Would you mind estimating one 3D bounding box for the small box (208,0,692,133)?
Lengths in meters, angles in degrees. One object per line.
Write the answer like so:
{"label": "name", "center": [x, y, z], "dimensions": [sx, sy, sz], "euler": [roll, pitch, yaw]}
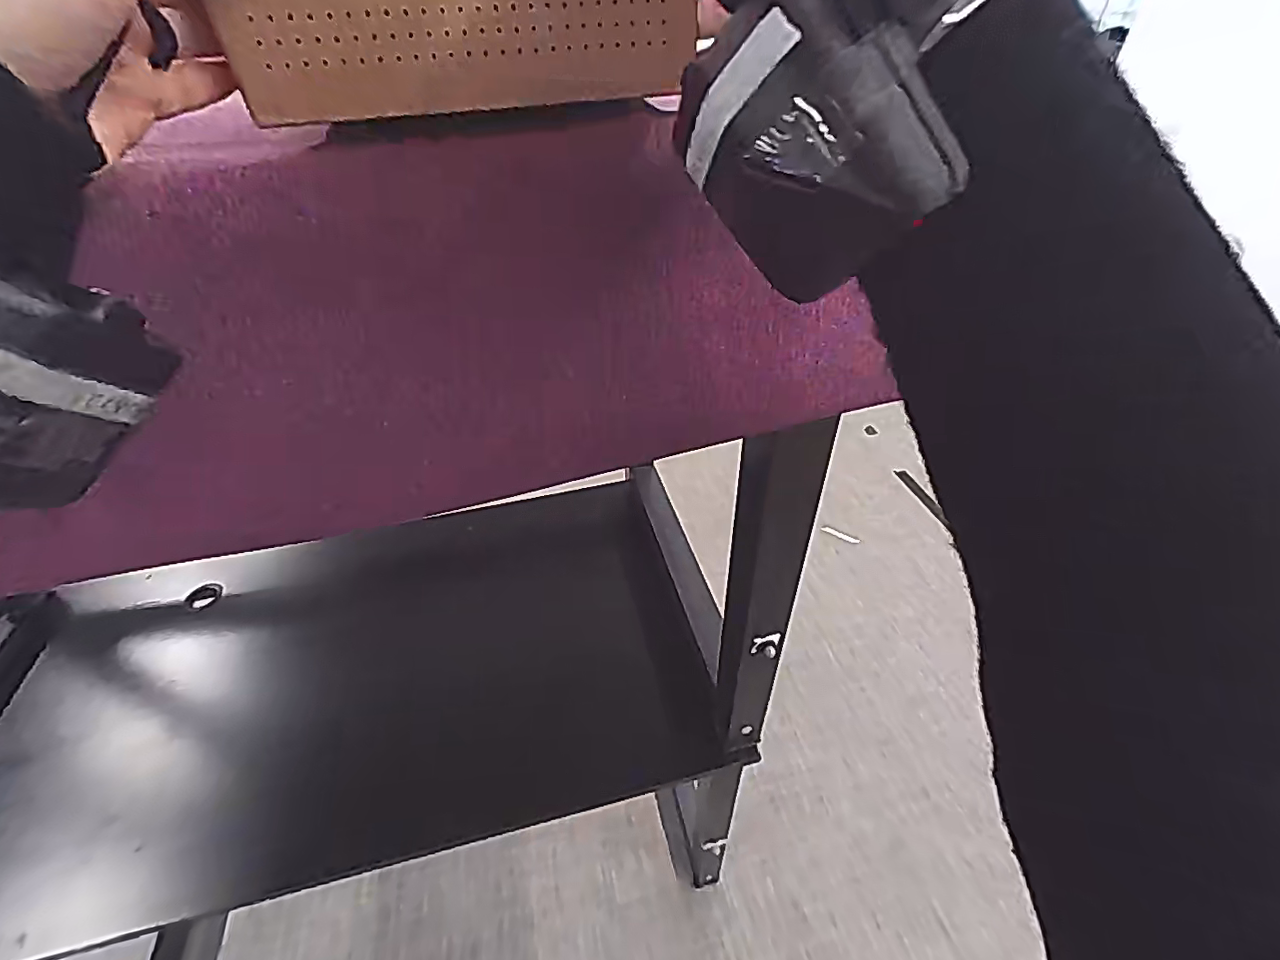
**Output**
{"label": "small box", "center": [-0.078, -0.254, 0.220], "dimensions": [0.179, 0.176, 0.168], "euler": [-11, 38, -8]}
